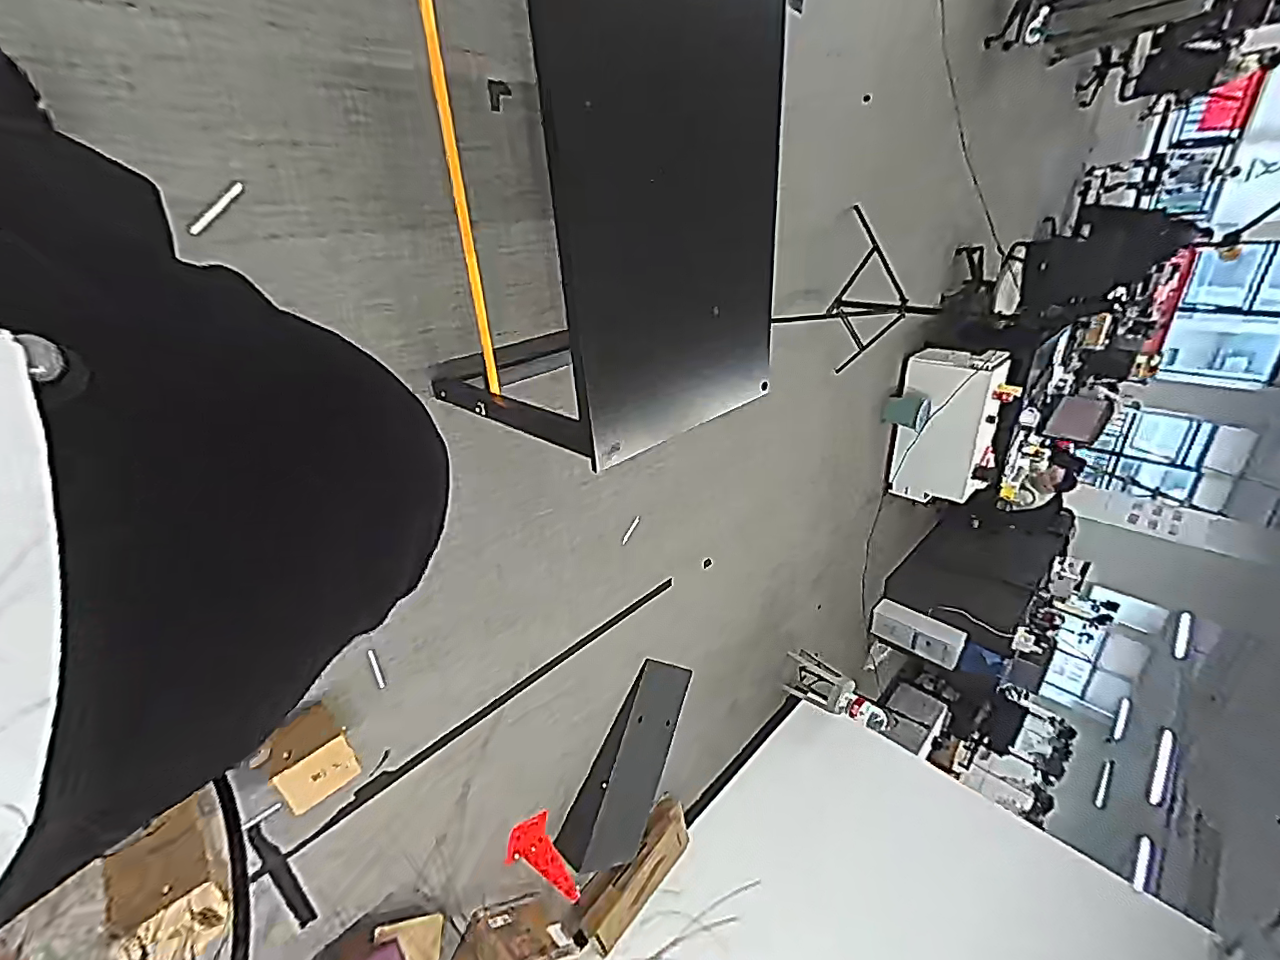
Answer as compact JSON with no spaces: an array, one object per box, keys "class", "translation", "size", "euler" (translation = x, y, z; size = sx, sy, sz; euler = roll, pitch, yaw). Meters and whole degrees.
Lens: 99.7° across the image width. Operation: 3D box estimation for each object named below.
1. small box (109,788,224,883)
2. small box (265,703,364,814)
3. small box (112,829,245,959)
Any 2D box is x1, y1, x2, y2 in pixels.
[{"class":"small box","translation":[-1.146,0.889,1.311],"size":[0.168,0.176,0.179],"euler":[-25,123,-38]},{"class":"small box","translation":[-0.911,0.768,1.506],"size":[0.179,0.176,0.168],"euler":[-30,127,-36]},{"class":"small box","translation":[-1.027,0.936,1.206],"size":[0.179,0.176,0.168],"euler":[-26,124,-37]}]
